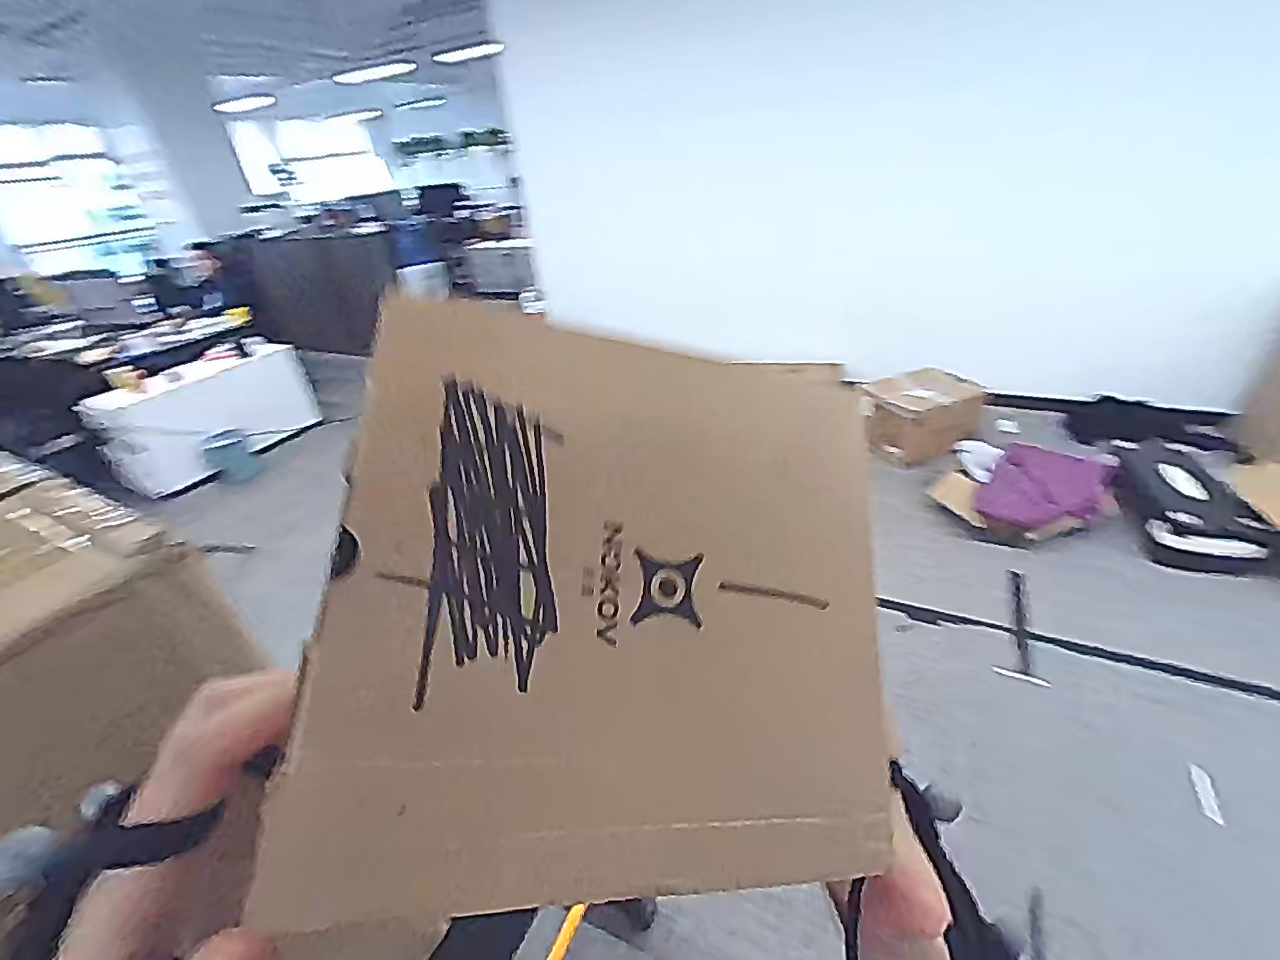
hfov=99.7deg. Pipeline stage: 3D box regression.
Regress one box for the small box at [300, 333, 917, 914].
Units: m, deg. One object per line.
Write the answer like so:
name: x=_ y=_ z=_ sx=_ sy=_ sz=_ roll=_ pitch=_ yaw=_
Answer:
small box: x=-0.013 y=0.063 z=0.246 sx=0.179 sy=0.176 sz=0.168 roll=9 pitch=71 yaw=-14
